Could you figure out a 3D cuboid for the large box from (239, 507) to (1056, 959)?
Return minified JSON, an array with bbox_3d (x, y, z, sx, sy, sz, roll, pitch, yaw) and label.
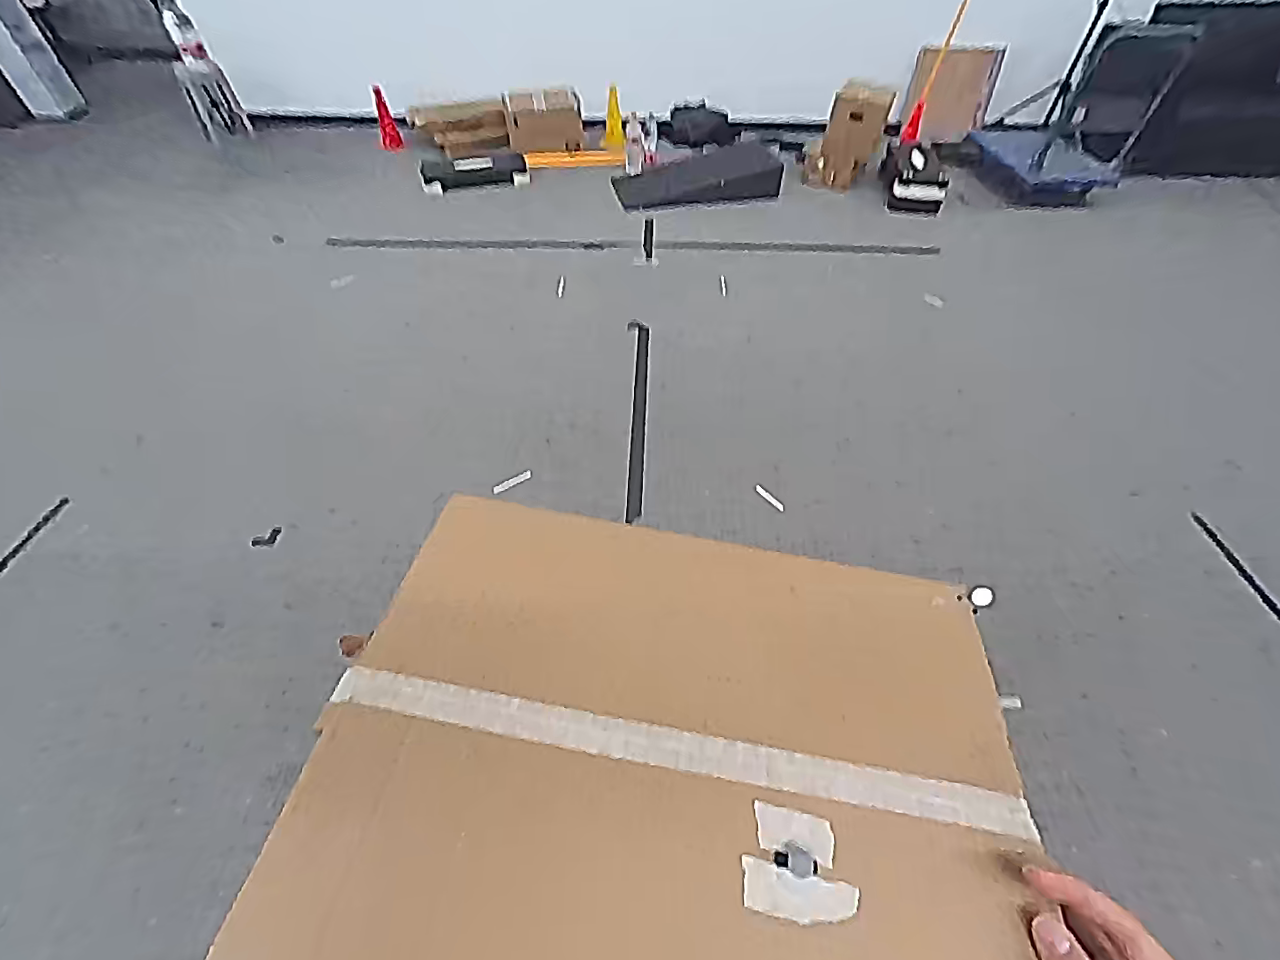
[{"bbox_3d":[0.014,0.264,0.438,0.408,0.320,0.320,11,48,3],"label":"large box"}]
